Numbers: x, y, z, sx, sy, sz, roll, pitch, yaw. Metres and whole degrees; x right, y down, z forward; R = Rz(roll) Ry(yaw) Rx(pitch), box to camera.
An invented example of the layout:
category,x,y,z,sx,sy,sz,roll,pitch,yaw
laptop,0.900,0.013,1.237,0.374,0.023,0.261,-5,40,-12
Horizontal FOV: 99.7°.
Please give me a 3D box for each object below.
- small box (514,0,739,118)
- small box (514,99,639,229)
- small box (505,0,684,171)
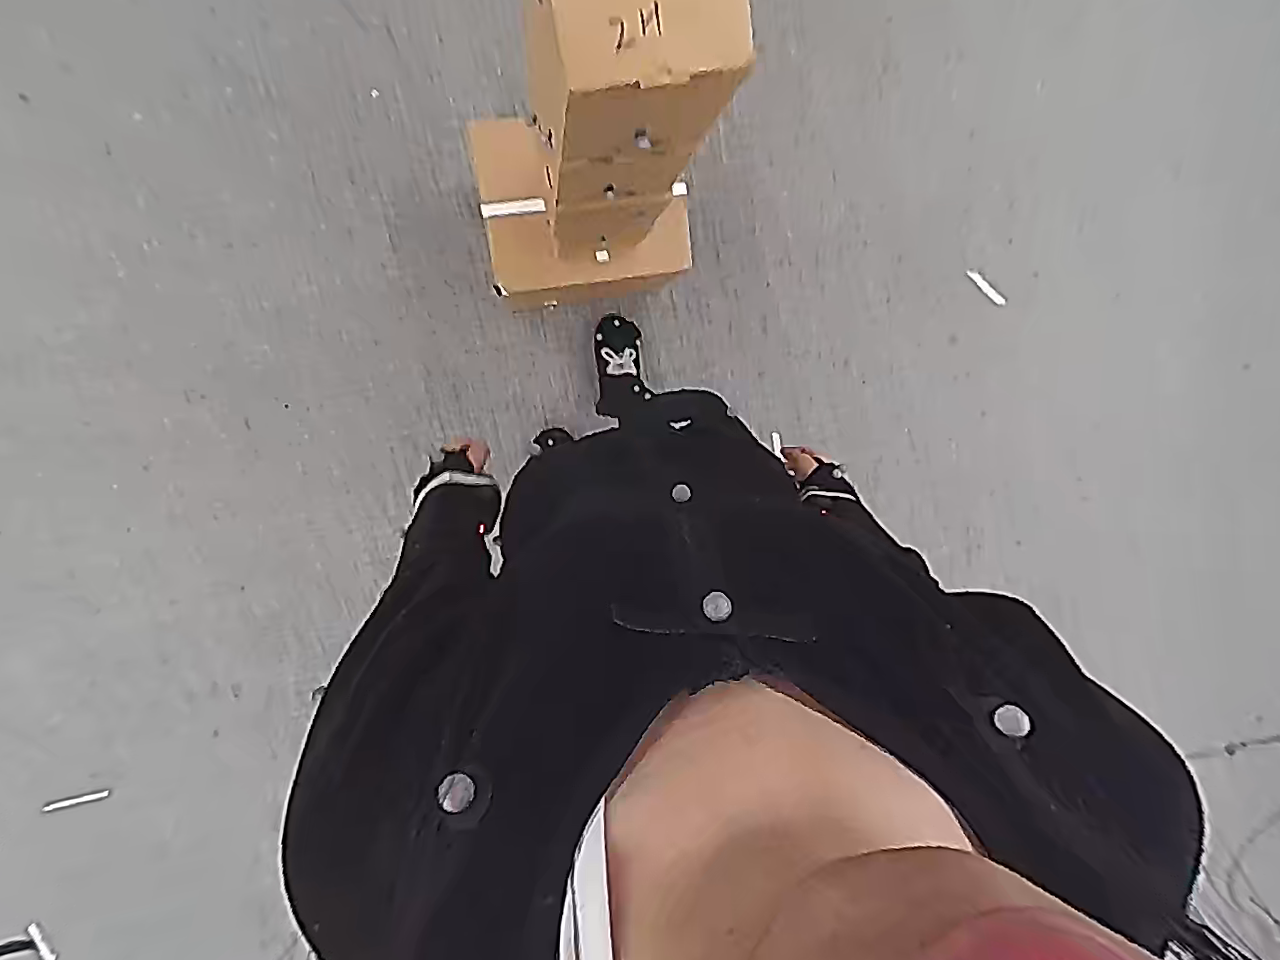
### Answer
category,x,y,z,sx,sy,sz,roll,pitch,yaw
small box,-0.030,-0.469,0.489,0.168,0.176,0.179,-16,106,-8
small box,-0.117,-0.564,0.963,0.179,0.176,0.168,-16,106,-9
small box,-0.062,-0.502,0.647,0.168,0.176,0.179,-15,106,-8
